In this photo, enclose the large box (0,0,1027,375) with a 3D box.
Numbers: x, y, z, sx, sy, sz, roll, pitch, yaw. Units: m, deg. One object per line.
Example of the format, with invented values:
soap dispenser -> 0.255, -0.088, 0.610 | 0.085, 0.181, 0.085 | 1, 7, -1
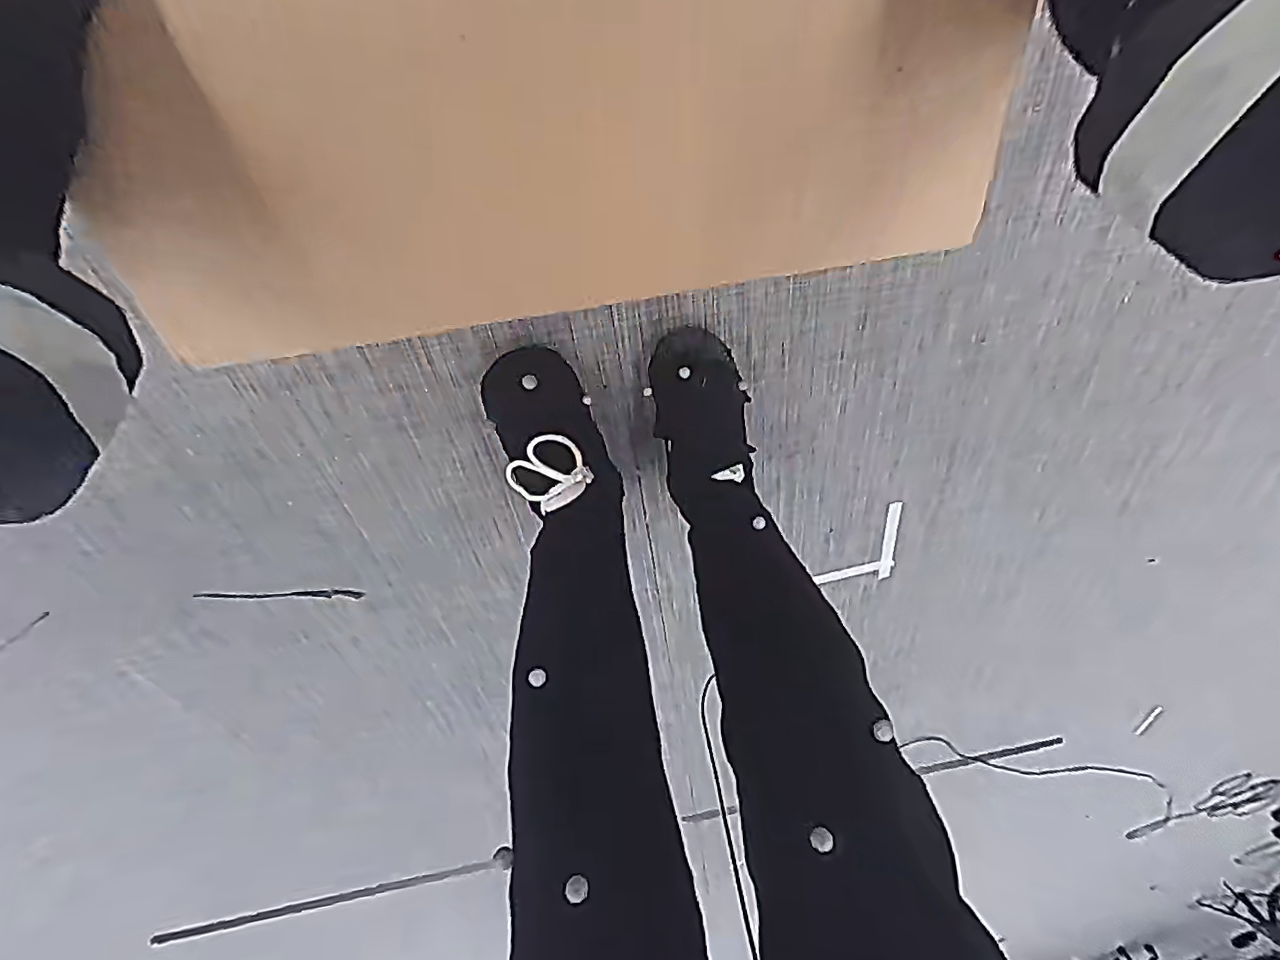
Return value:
large box -> -0.060, -0.296, 0.308 | 0.408, 0.320, 0.320 | -10, 128, -3
